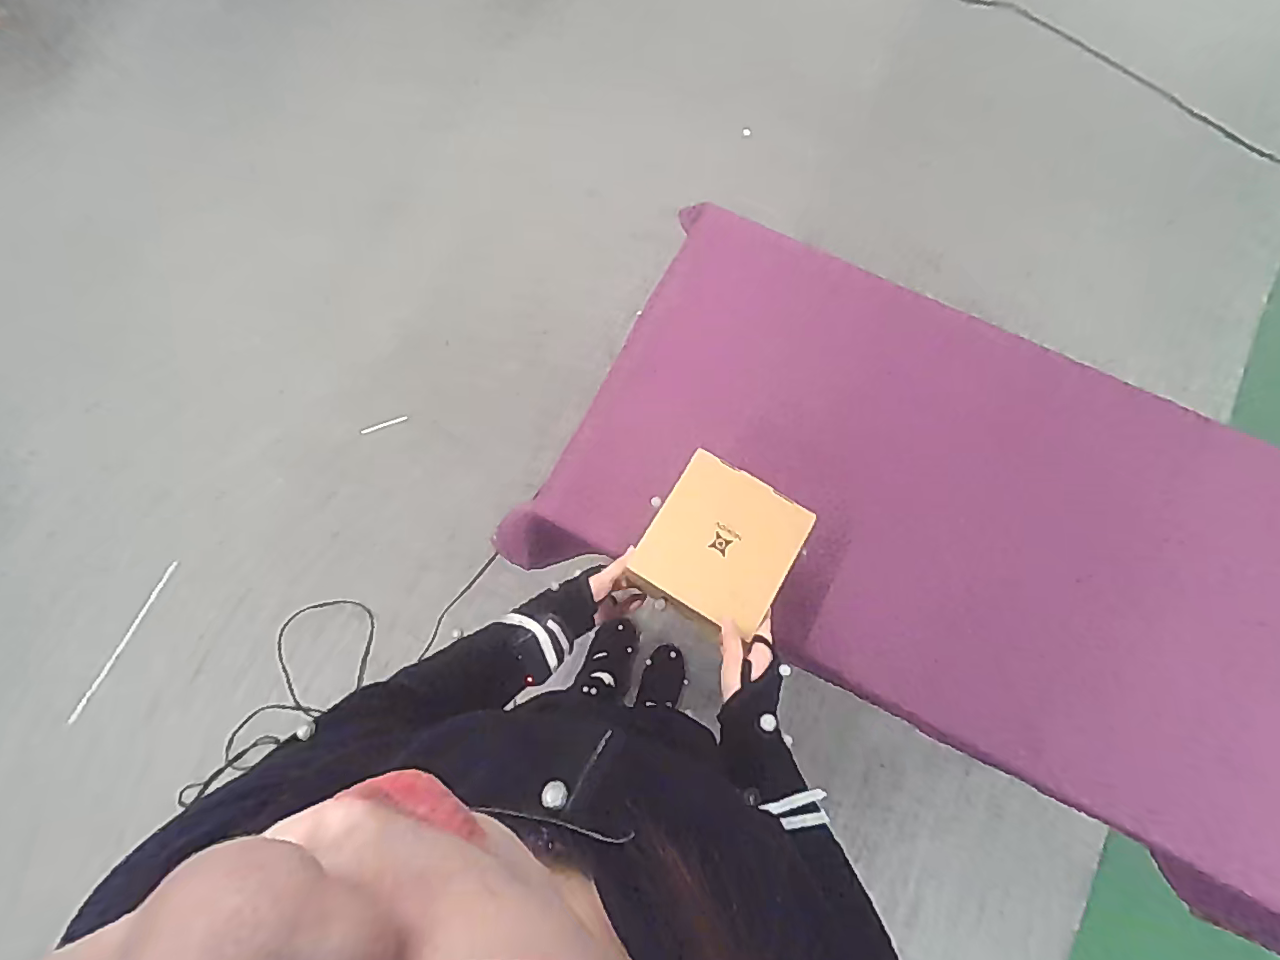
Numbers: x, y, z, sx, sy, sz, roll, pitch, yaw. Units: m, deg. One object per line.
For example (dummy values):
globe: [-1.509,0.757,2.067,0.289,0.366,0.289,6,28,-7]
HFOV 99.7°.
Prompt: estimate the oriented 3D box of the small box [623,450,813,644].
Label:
small box: [0.094,0.097,0.706,0.168,0.176,0.179,31,74,8]
